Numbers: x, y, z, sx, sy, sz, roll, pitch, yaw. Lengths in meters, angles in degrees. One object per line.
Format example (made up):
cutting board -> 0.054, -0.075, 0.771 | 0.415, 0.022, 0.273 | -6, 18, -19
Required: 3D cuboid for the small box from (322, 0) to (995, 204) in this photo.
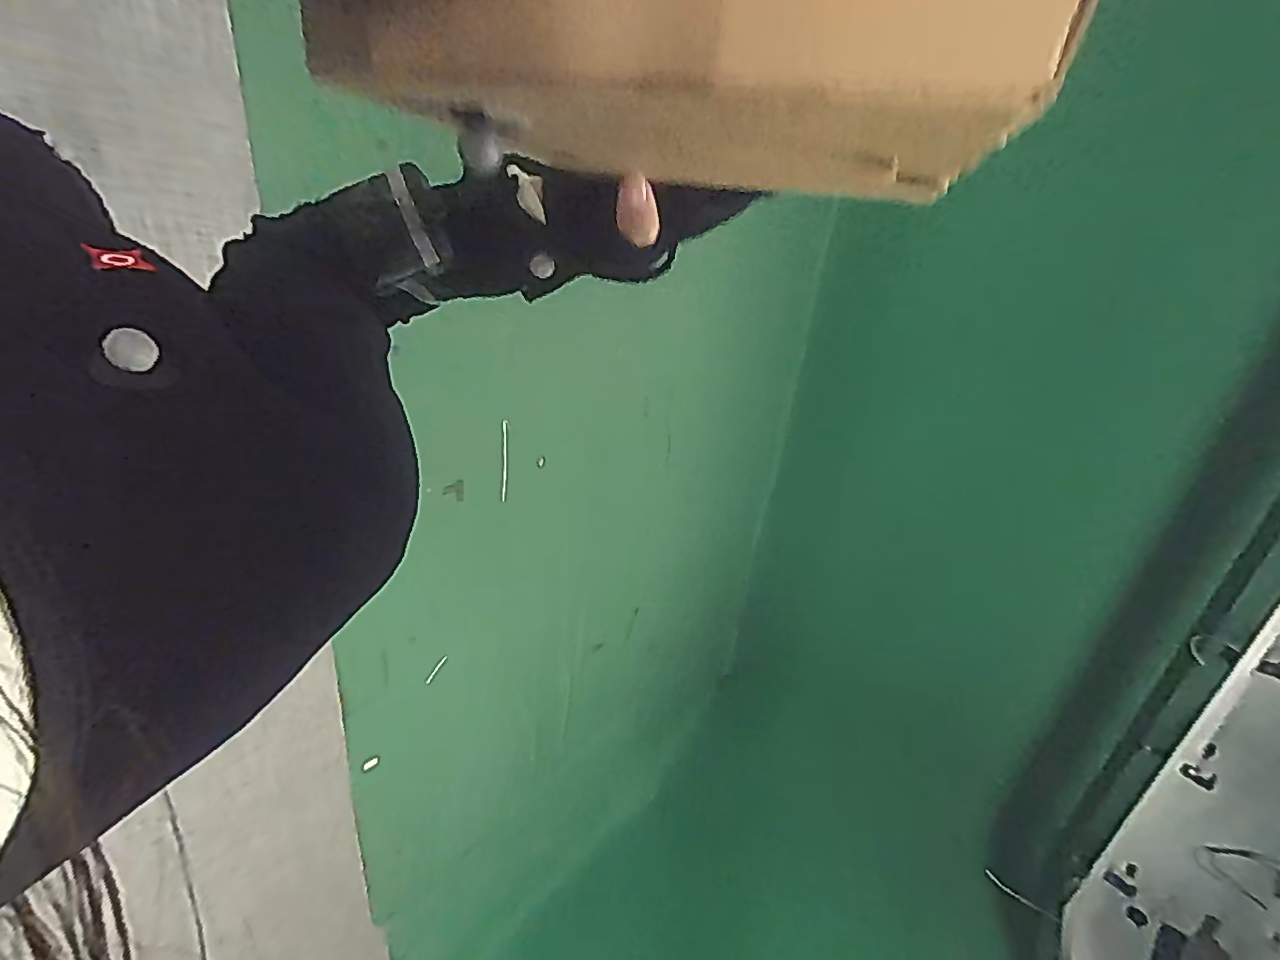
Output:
small box -> 0.018, -0.193, 0.158 | 0.168, 0.176, 0.179 | -47, 148, -62
